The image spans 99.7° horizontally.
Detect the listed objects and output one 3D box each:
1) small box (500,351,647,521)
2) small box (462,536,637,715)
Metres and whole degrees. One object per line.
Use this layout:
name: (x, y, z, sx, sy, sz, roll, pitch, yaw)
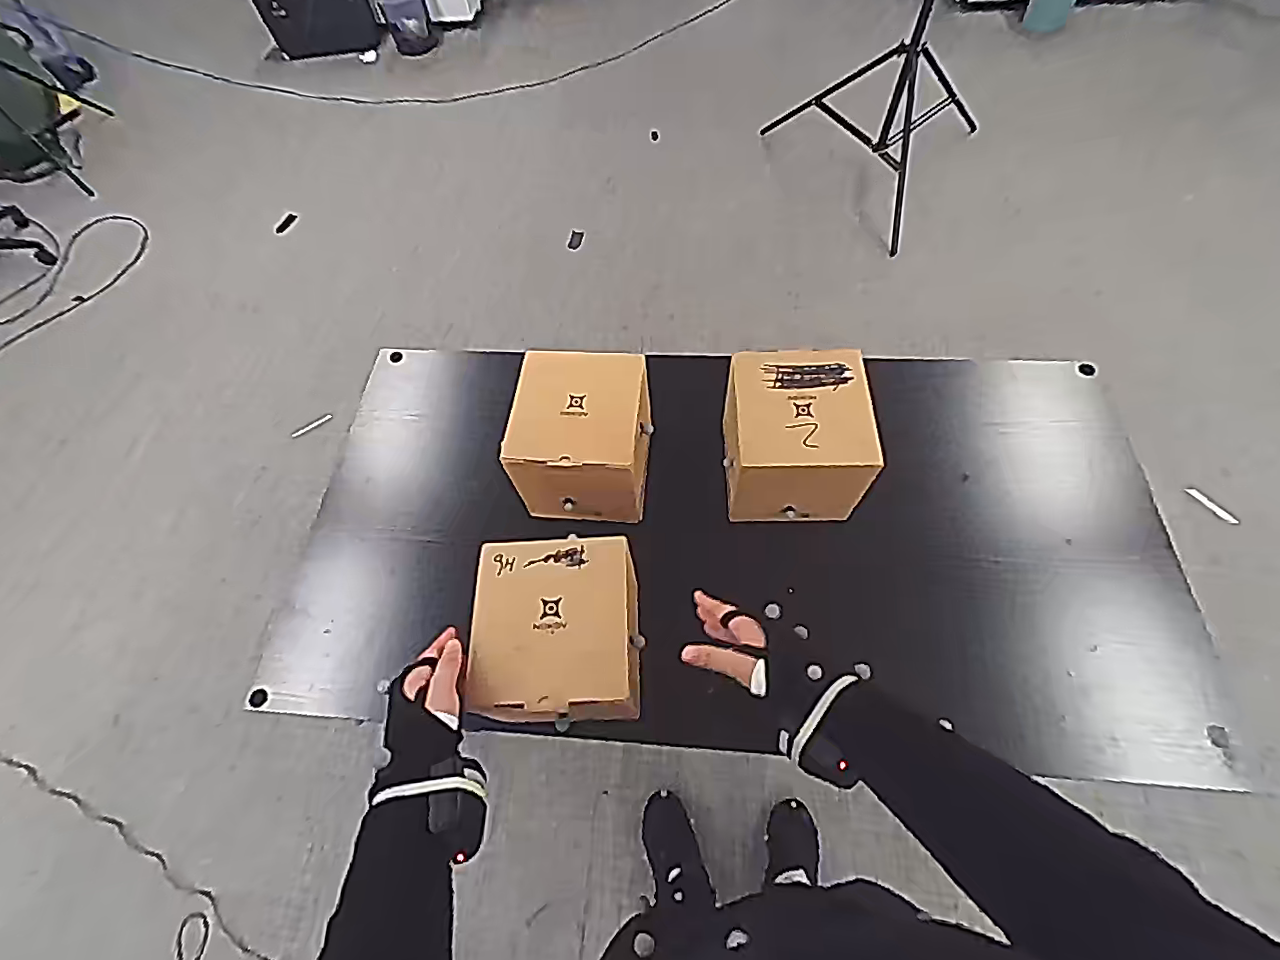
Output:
small box: (-0.080, -0.059, 0.768, 0.168, 0.176, 0.179, 3, 63, 6)
small box: (-0.092, 0.180, 0.640, 0.168, 0.176, 0.179, -3, 62, 3)
